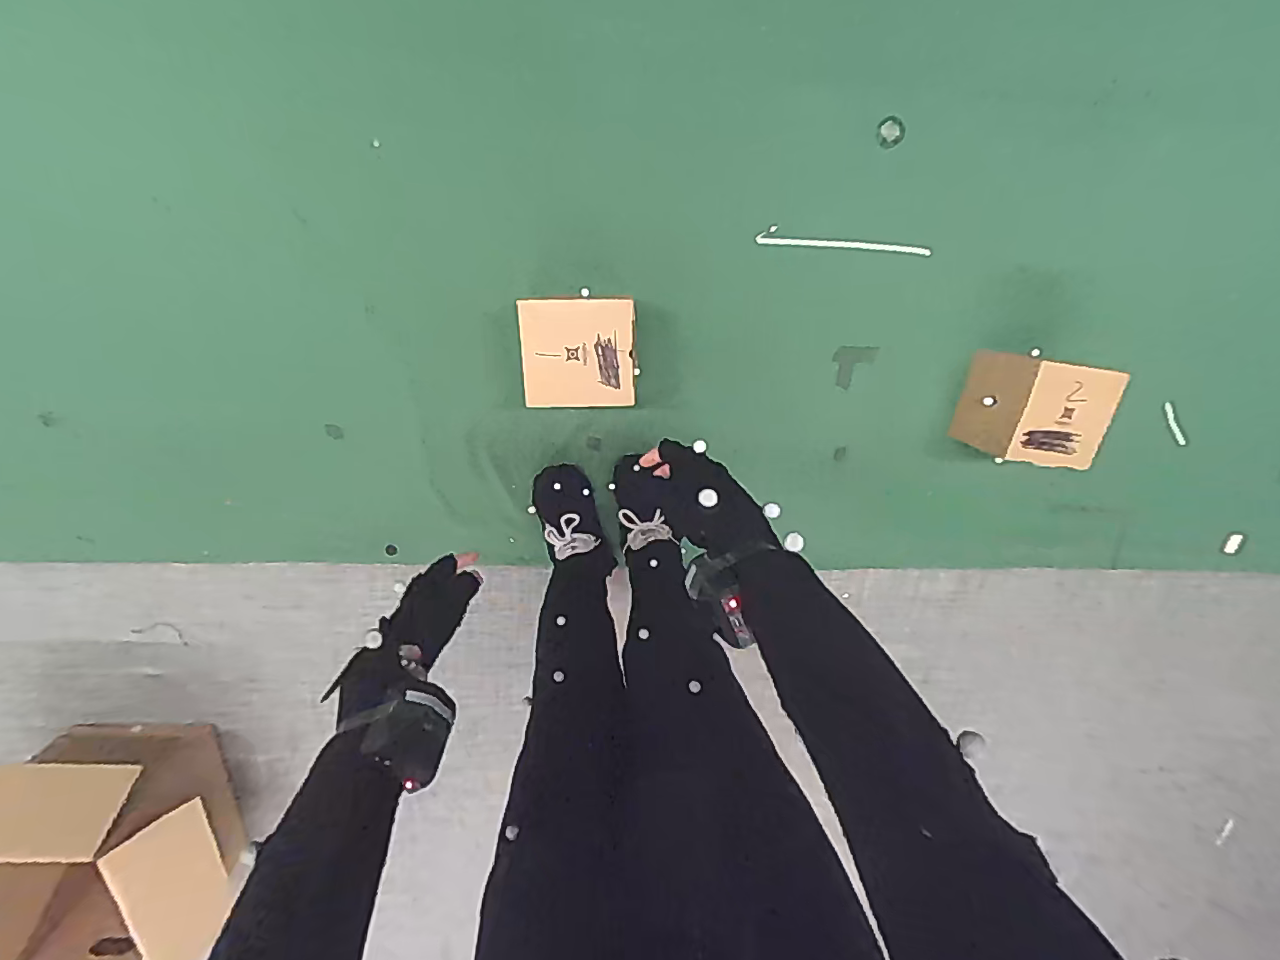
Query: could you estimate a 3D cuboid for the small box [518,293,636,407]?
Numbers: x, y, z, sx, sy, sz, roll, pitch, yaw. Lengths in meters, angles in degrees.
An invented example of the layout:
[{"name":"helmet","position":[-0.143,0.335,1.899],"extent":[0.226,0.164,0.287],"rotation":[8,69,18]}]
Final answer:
[{"name":"small box","position":[-0.098,-0.222,0.902],"extent":[0.179,0.176,0.168],"rotation":[-1,111,-2]}]
